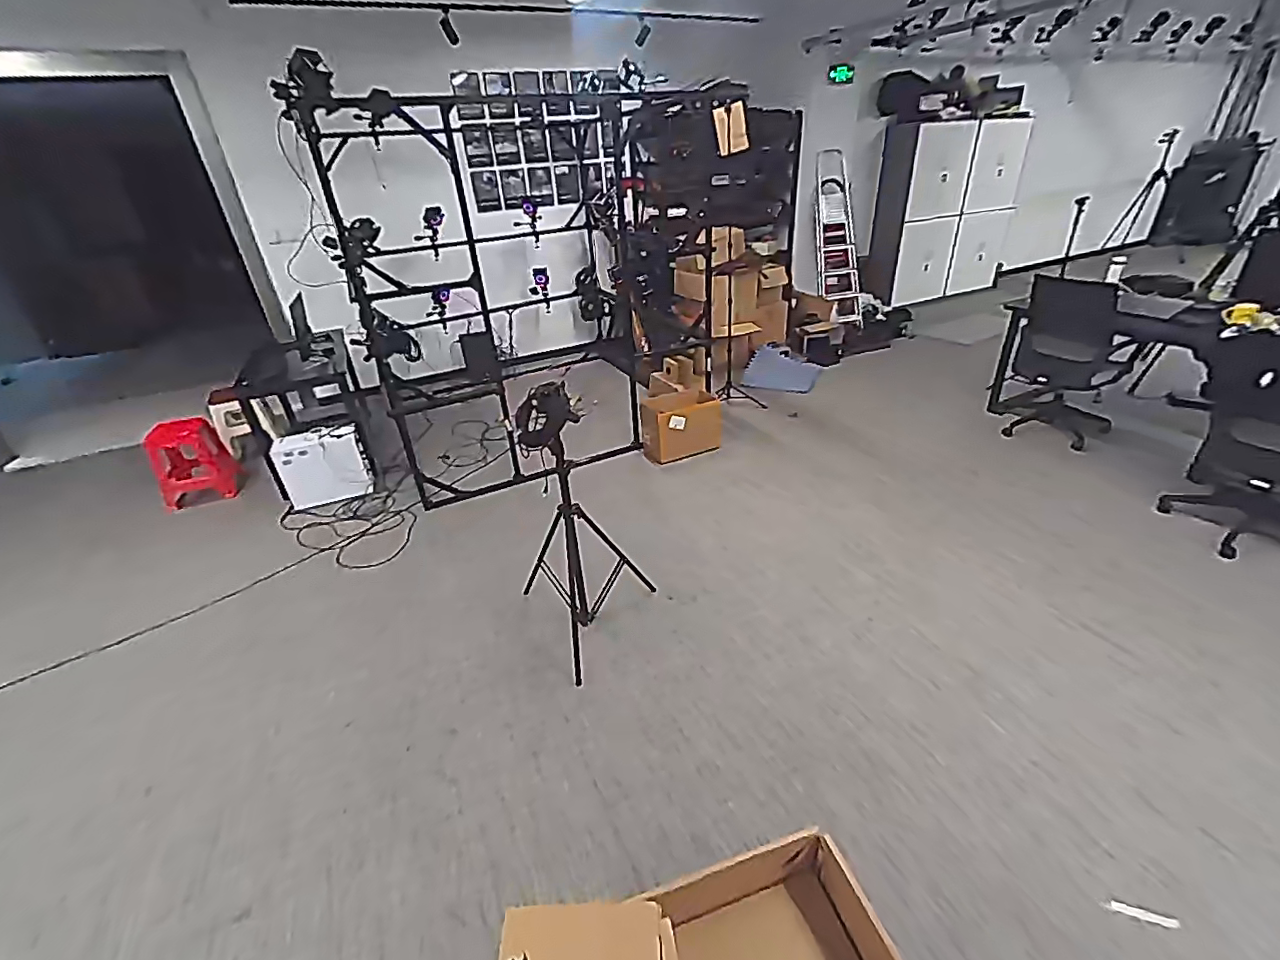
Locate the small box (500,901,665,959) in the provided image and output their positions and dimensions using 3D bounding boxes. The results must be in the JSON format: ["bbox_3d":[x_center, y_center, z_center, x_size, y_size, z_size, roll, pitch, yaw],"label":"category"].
[{"bbox_3d":[-0.061,0.587,0.587,0.179,0.176,0.168,-1,33,0],"label":"small box"}]
